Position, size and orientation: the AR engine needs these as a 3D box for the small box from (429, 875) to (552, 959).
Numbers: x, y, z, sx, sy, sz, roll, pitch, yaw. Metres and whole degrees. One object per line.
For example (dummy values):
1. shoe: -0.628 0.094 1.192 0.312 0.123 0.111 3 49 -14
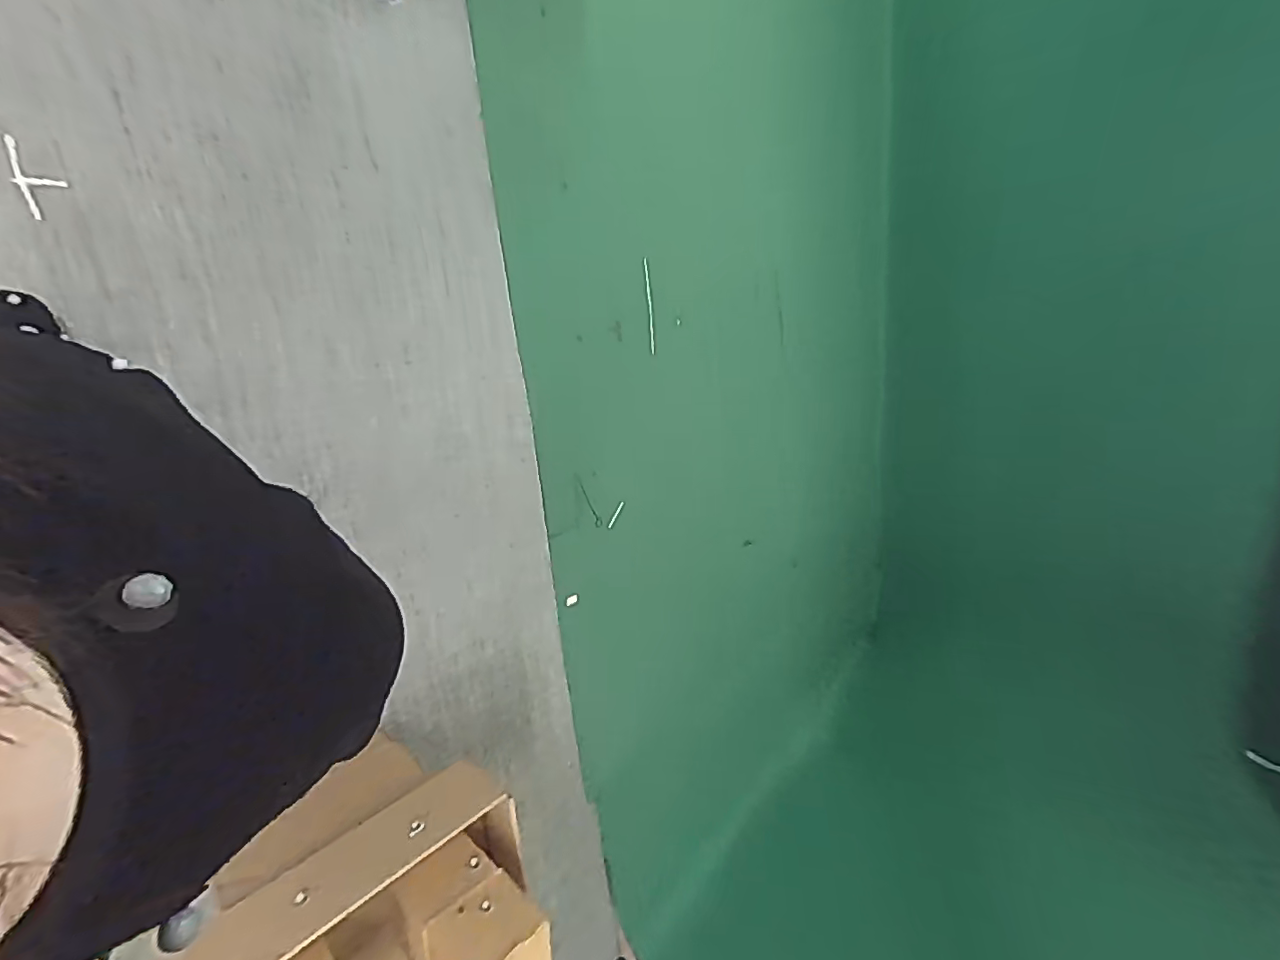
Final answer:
1. small box: -0.283 0.914 1.025 0.168 0.176 0.179 -11 104 -45
